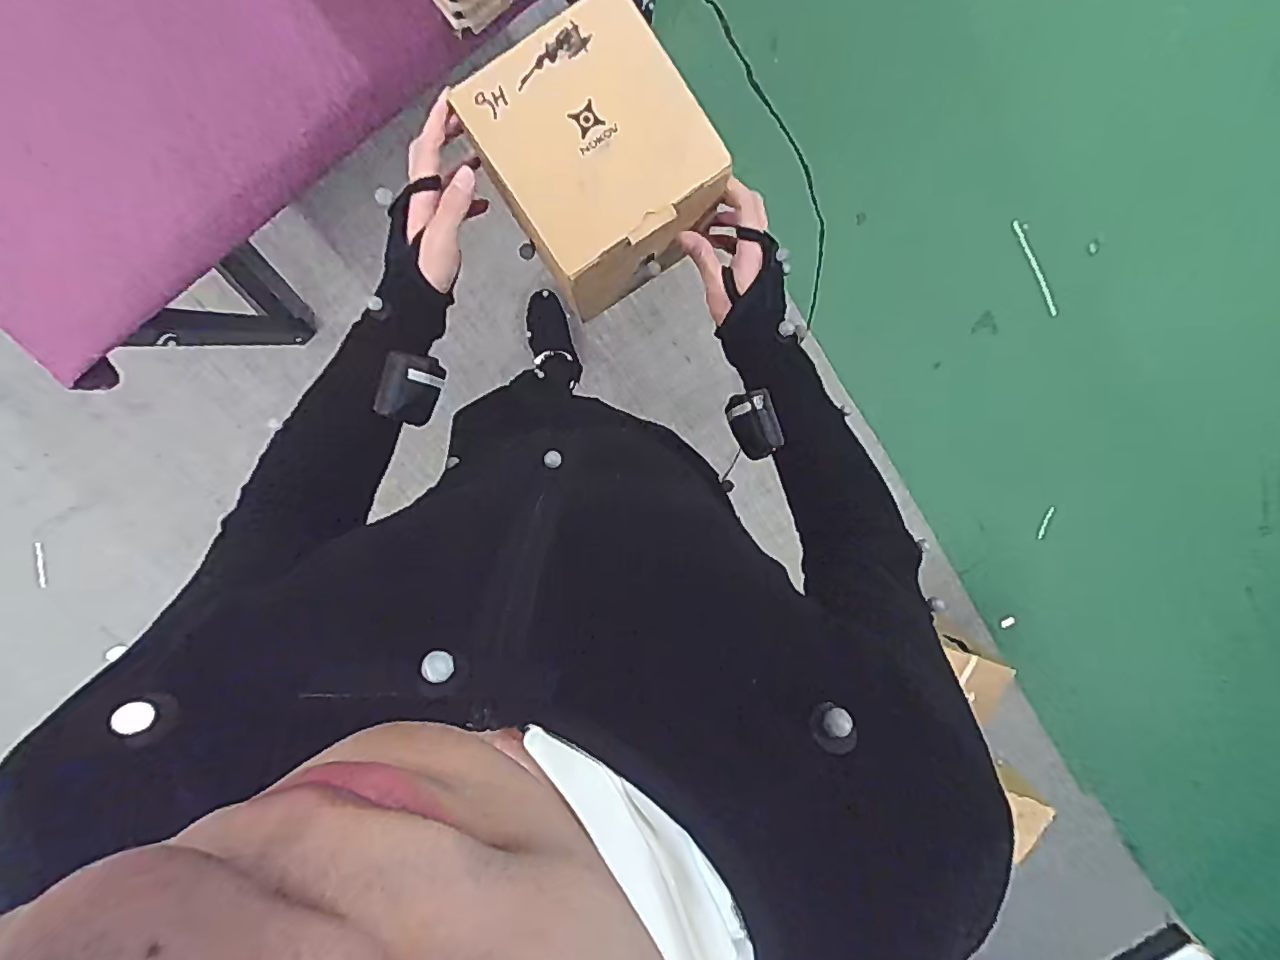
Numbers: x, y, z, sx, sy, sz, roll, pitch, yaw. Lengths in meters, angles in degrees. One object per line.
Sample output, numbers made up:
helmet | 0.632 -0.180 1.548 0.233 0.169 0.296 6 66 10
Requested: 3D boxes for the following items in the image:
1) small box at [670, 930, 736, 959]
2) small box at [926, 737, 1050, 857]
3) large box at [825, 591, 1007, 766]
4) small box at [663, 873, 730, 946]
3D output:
small box | 0.188 1.365 1.459 0.168 0.176 0.179 -18 105 0
small box | 0.868 0.799 1.374 0.168 0.176 0.179 24 101 -11
large box | 0.868 0.638 1.759 0.320 0.320 0.408 19 101 -11
small box | 0.173 1.333 1.618 0.168 0.176 0.179 -16 104 -1
